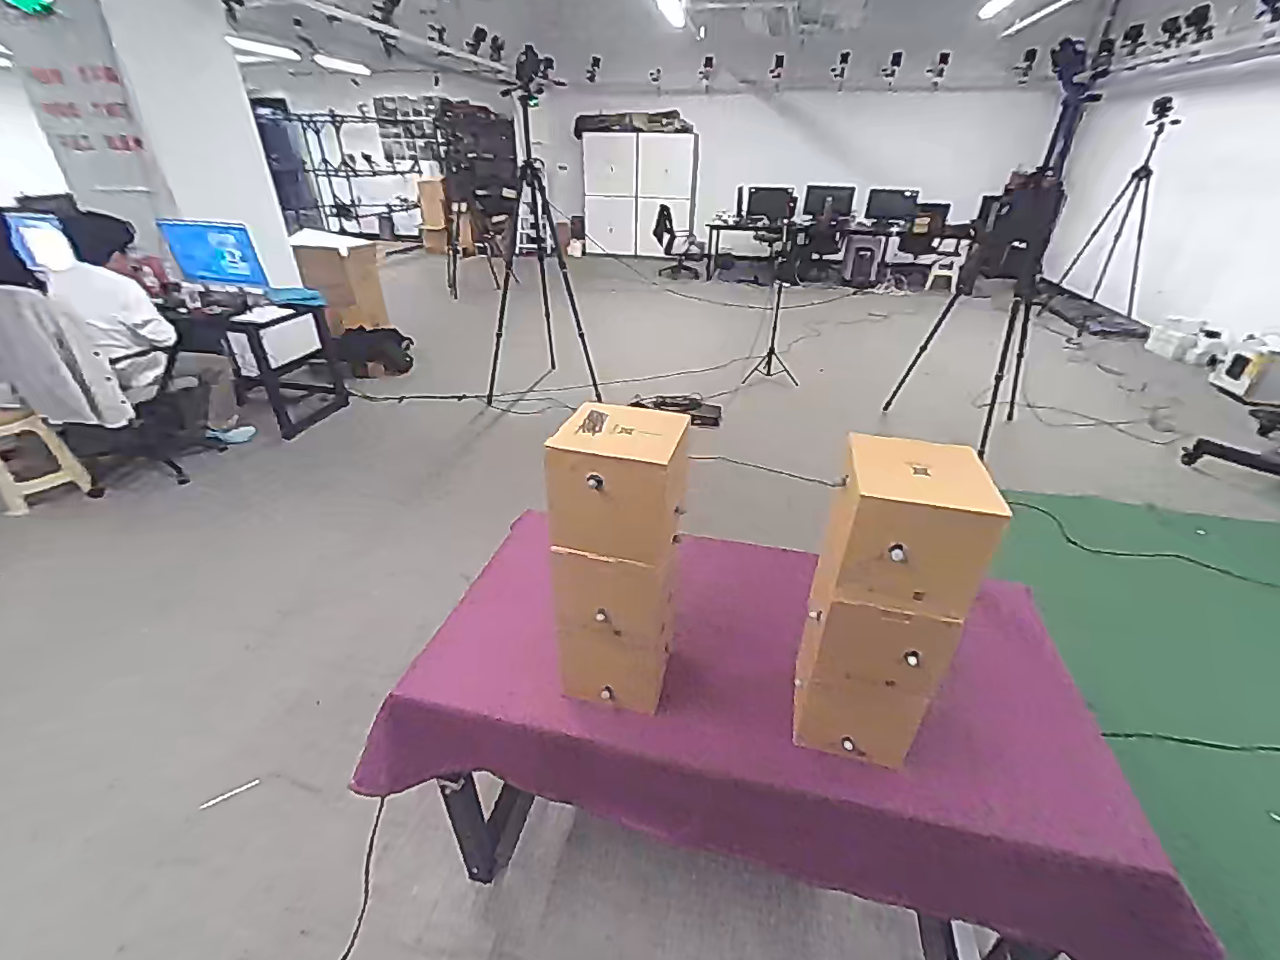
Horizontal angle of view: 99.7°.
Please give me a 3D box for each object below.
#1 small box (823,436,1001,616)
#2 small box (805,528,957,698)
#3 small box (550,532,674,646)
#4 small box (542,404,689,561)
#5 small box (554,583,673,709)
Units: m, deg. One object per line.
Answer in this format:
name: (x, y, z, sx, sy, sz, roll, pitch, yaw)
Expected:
small box: (0.352, 0.059, 0.739, 0.168, 0.176, 0.179, 8, 31, 11)
small box: (0.351, 0.198, 0.822, 0.168, 0.176, 0.179, 8, 32, 11)
small box: (-0.039, 0.142, 0.900, 0.168, 0.176, 0.179, 7, 32, 11)
small box: (-0.031, 0.001, 0.815, 0.179, 0.176, 0.168, 9, 32, 12)
small box: (-0.044, 0.287, 0.981, 0.179, 0.176, 0.168, 8, 31, 9)
